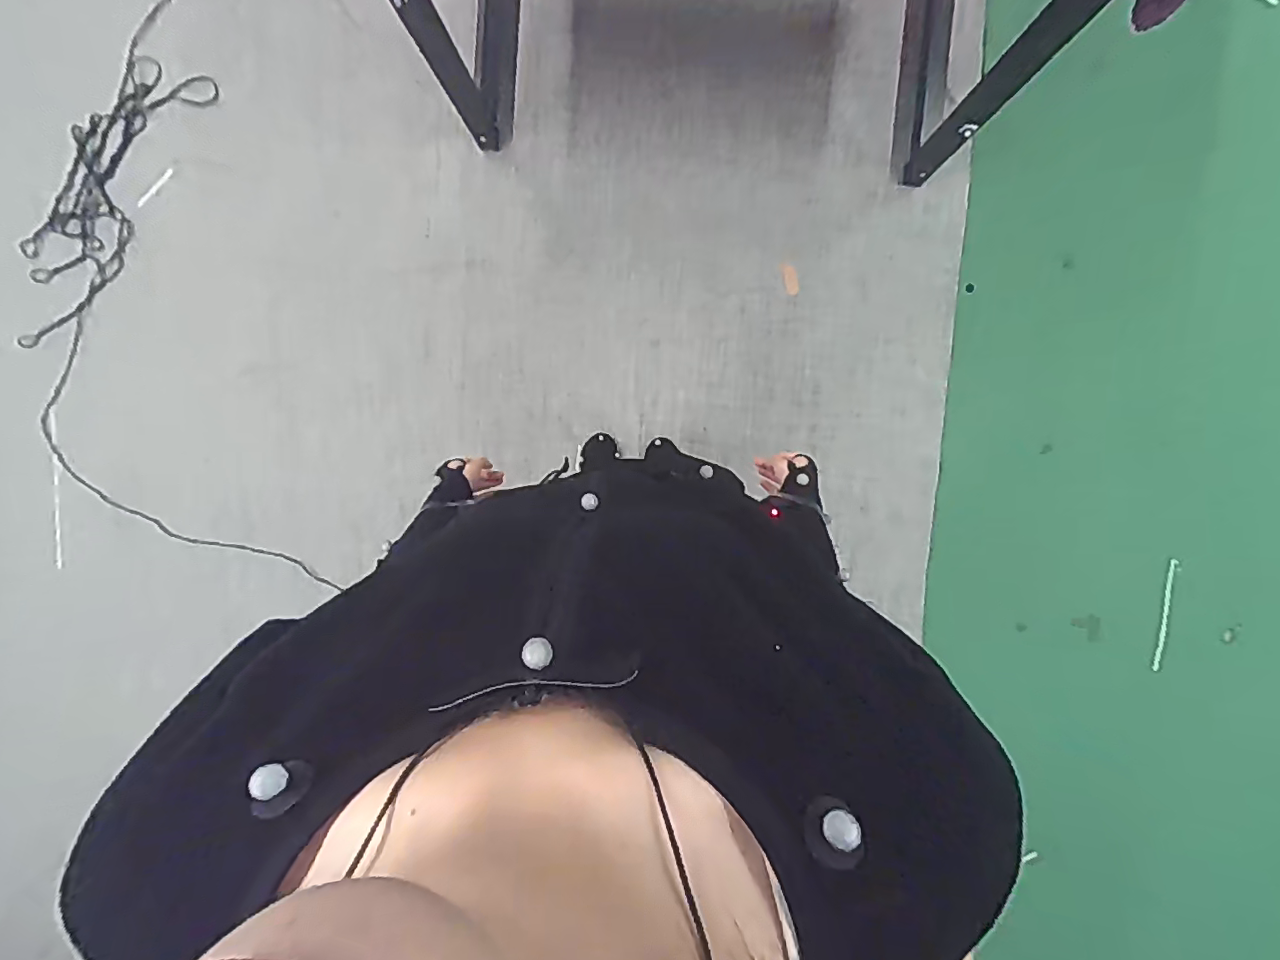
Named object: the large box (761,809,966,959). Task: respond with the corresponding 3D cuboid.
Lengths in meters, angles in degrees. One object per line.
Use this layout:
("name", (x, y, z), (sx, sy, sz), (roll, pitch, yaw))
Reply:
("large box", (0.567, 1.131, 1.416), (0.408, 0.320, 0.320), (-10, 94, 1))
